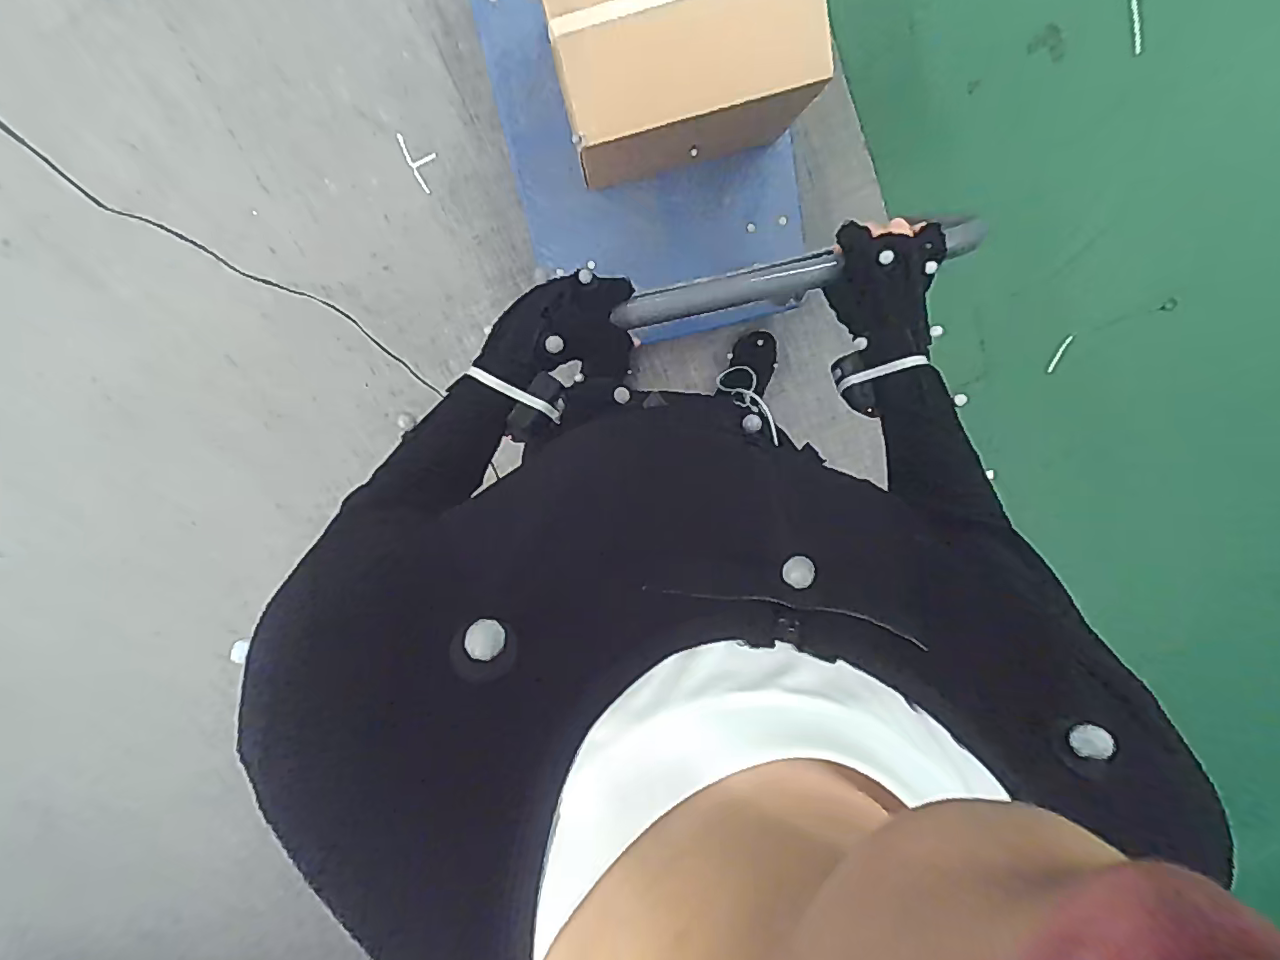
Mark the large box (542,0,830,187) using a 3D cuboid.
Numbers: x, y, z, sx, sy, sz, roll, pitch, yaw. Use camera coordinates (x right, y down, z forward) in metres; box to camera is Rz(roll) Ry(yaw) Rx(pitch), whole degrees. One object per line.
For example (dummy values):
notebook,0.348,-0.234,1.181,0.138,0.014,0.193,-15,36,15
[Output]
large box,0.062,-0.760,0.946,0.408,0.320,0.320,-15,107,3
